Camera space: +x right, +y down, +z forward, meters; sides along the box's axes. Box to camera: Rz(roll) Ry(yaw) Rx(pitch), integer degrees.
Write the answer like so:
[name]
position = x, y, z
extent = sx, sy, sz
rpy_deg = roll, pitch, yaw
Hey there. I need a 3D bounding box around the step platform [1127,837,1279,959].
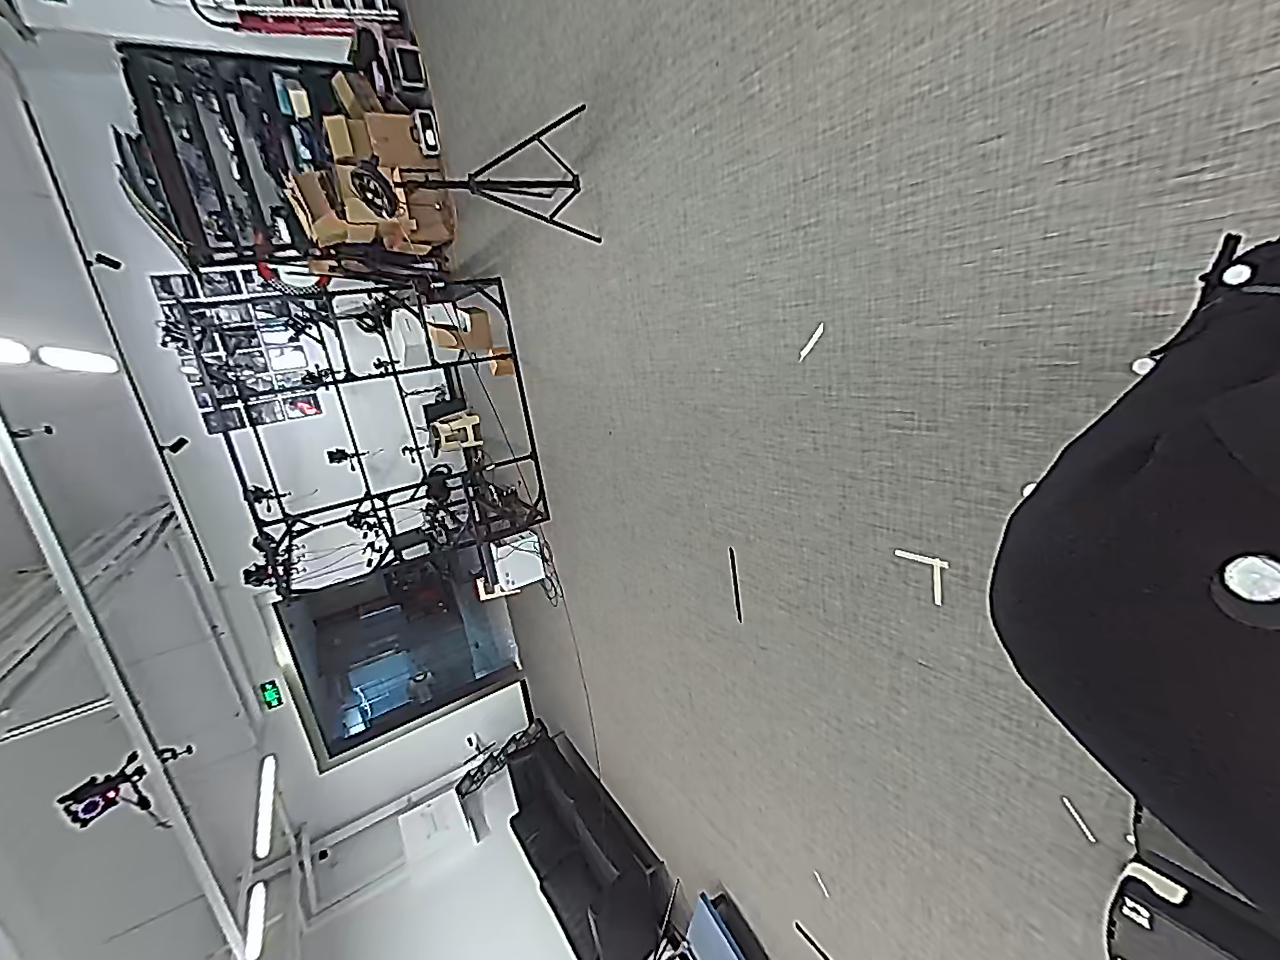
[step platform]
position = 1.405, 1.071, 1.051
extent = 0.684, 0.204, 0.286
rpy_deg = 16, 119, 59
